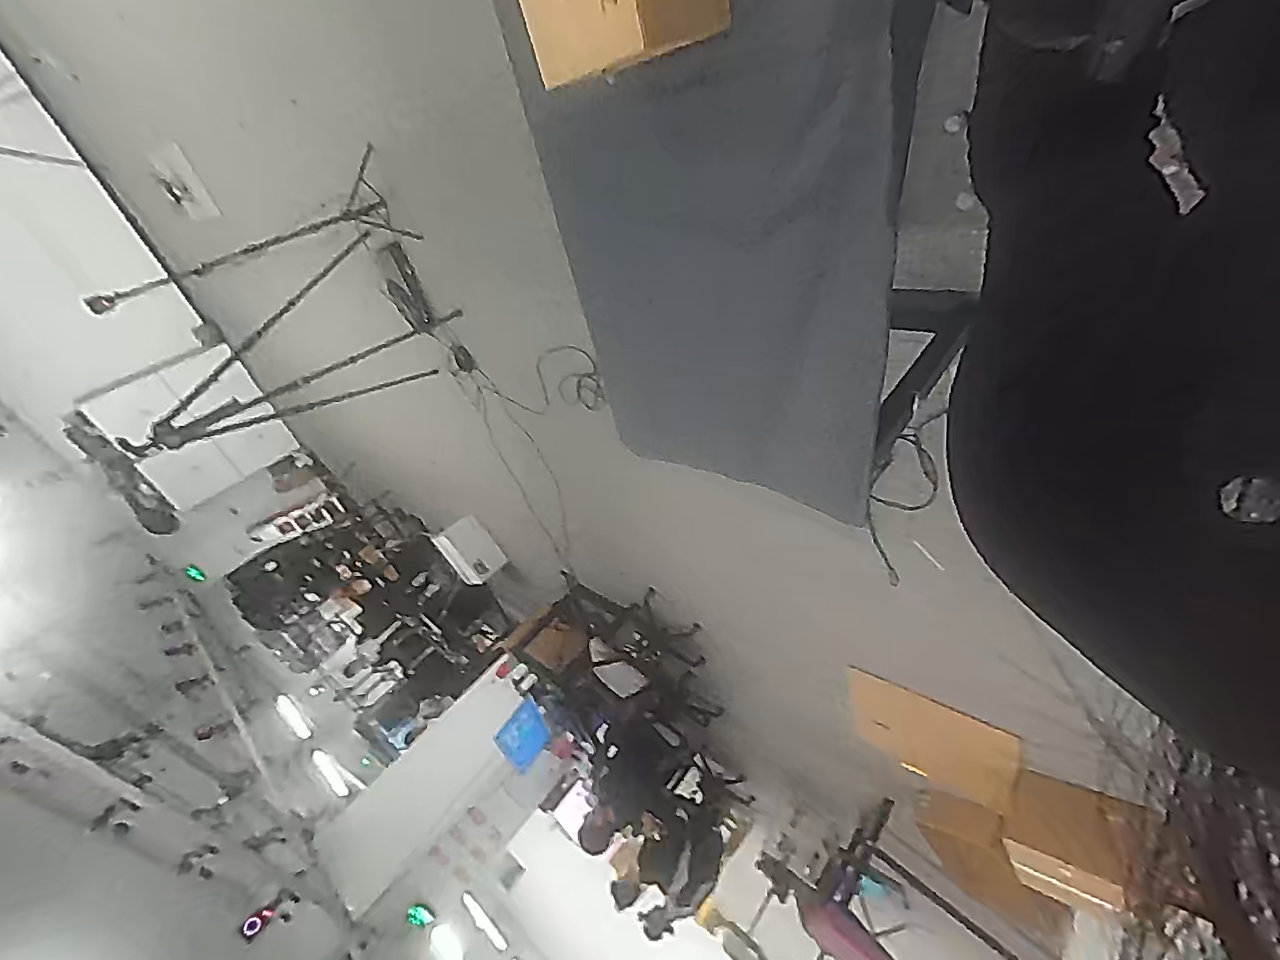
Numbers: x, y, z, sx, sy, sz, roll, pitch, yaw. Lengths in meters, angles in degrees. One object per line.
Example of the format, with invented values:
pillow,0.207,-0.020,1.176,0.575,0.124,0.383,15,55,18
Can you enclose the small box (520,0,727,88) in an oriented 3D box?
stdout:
small box,-0.026,-0.580,0.621,0.179,0.176,0.168,17,137,40
